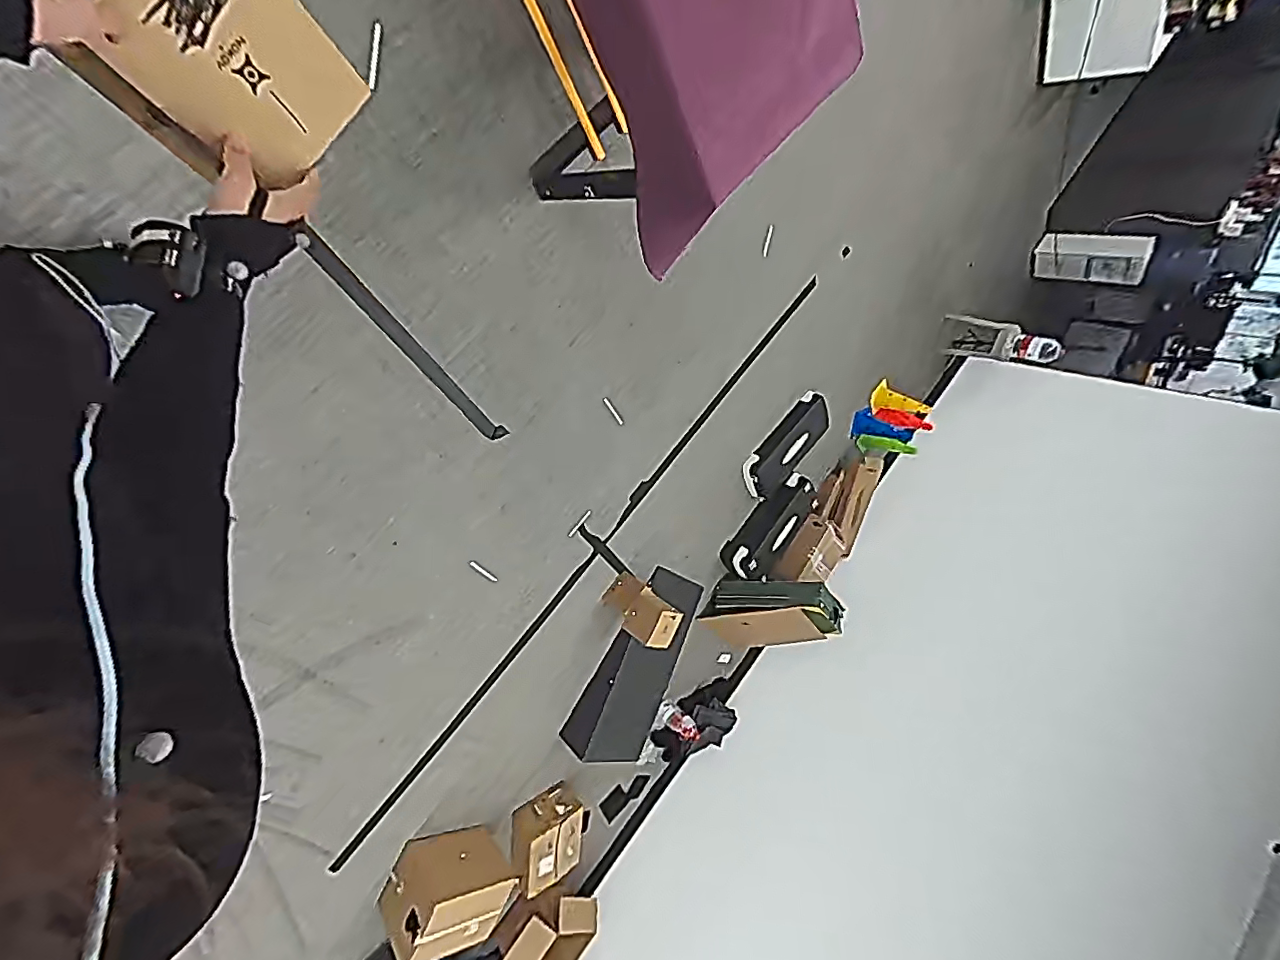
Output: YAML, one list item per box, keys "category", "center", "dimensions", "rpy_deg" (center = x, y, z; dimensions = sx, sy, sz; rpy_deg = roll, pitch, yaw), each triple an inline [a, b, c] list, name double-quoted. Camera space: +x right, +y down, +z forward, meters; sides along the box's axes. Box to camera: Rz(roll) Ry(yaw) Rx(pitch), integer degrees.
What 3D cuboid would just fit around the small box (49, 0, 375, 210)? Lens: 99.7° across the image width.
- category: "small box"
  center: [-0.419, -0.404, 0.537]
  dimensions: [0.168, 0.176, 0.179]
  rpy_deg: [-57, 148, -8]
